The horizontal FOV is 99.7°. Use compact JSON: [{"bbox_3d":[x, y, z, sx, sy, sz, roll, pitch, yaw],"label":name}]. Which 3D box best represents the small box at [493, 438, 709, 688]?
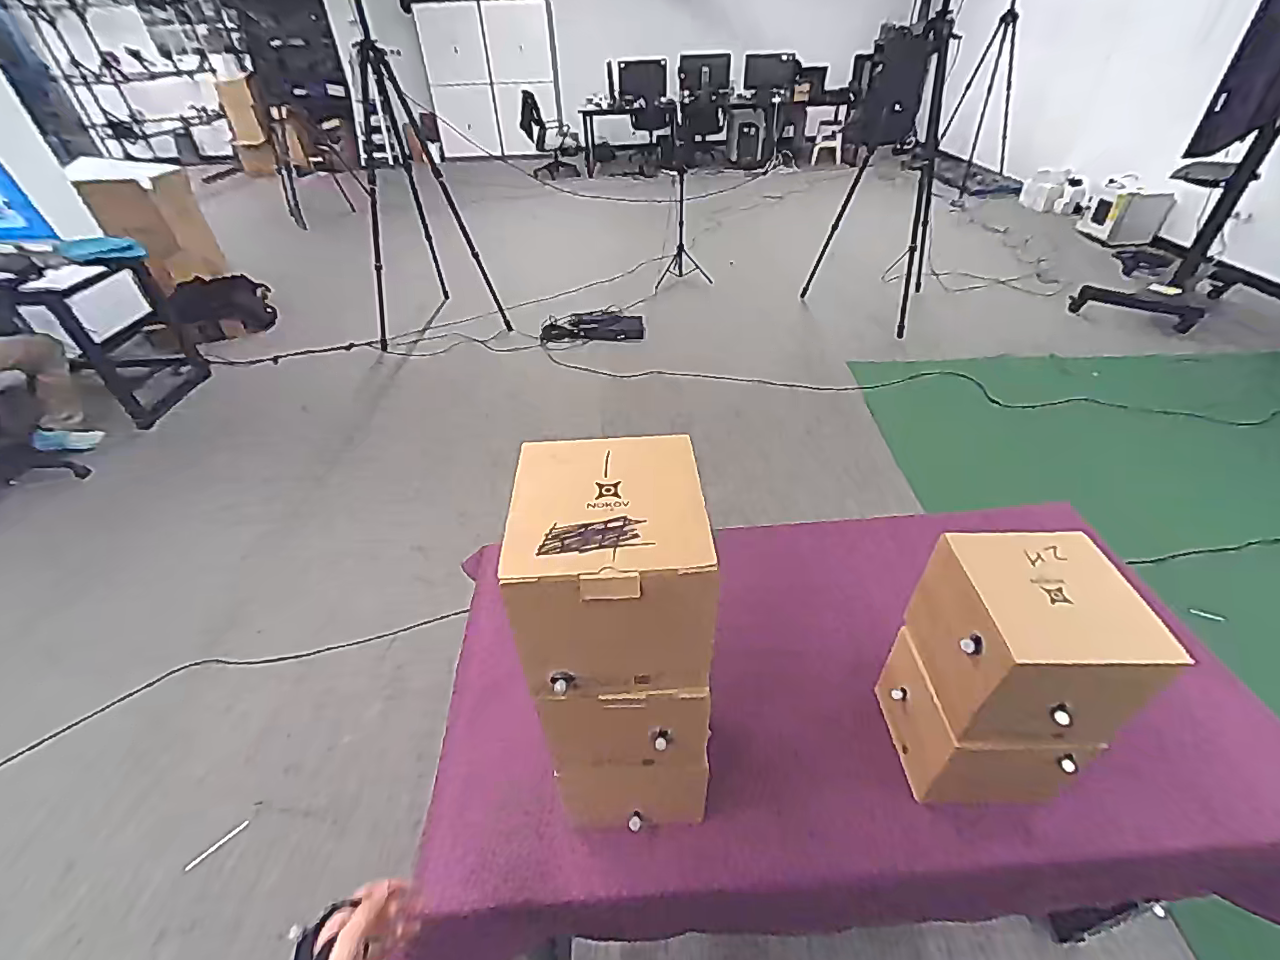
[{"bbox_3d":[-0.028,0.081,0.513,0.168,0.176,0.179,-3,38,-1],"label":"small box"}]

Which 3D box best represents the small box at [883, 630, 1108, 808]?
[{"bbox_3d":[0.442,0.314,0.715,0.179,0.176,0.168,-2,39,1],"label":"small box"}]

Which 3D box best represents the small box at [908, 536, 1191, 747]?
[{"bbox_3d":[0.435,0.183,0.616,0.168,0.176,0.179,0,39,3],"label":"small box"}]

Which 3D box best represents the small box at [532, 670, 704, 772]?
[{"bbox_3d":[-0.015,0.211,0.613,0.168,0.176,0.179,-1,39,2],"label":"small box"}]

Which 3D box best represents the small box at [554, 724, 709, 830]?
[{"bbox_3d":[-0.009,0.341,0.712,0.179,0.176,0.168,-2,39,0],"label":"small box"}]
